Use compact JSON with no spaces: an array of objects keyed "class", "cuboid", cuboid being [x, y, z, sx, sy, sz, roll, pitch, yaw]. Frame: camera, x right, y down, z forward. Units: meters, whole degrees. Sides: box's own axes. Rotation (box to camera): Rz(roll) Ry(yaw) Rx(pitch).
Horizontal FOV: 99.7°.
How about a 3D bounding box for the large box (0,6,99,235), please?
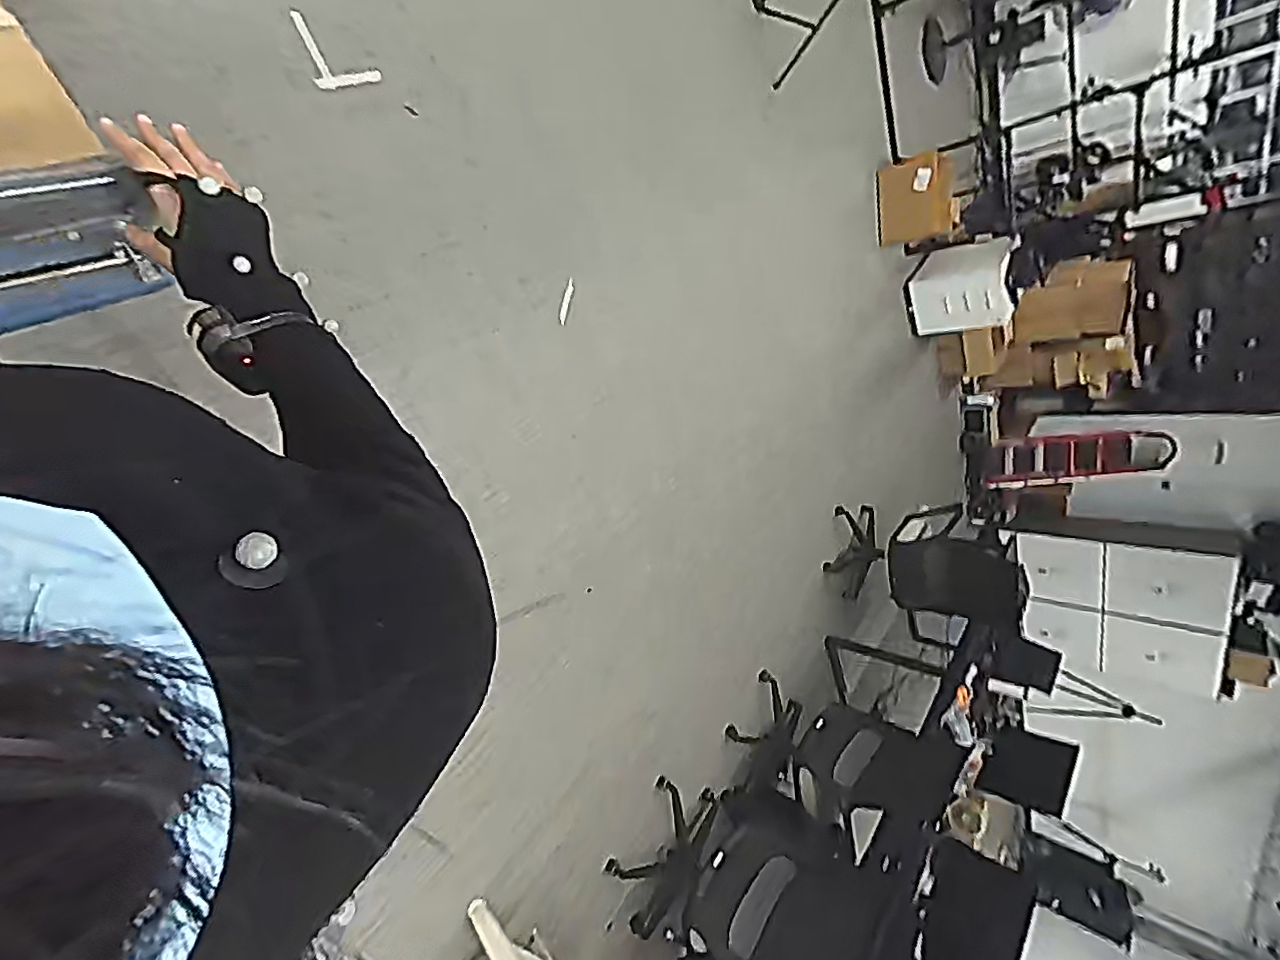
[{"class":"large box","cuboid":[-1.016,-0.475,0.665,0.408,0.320,0.320,-42,122,-36]}]
